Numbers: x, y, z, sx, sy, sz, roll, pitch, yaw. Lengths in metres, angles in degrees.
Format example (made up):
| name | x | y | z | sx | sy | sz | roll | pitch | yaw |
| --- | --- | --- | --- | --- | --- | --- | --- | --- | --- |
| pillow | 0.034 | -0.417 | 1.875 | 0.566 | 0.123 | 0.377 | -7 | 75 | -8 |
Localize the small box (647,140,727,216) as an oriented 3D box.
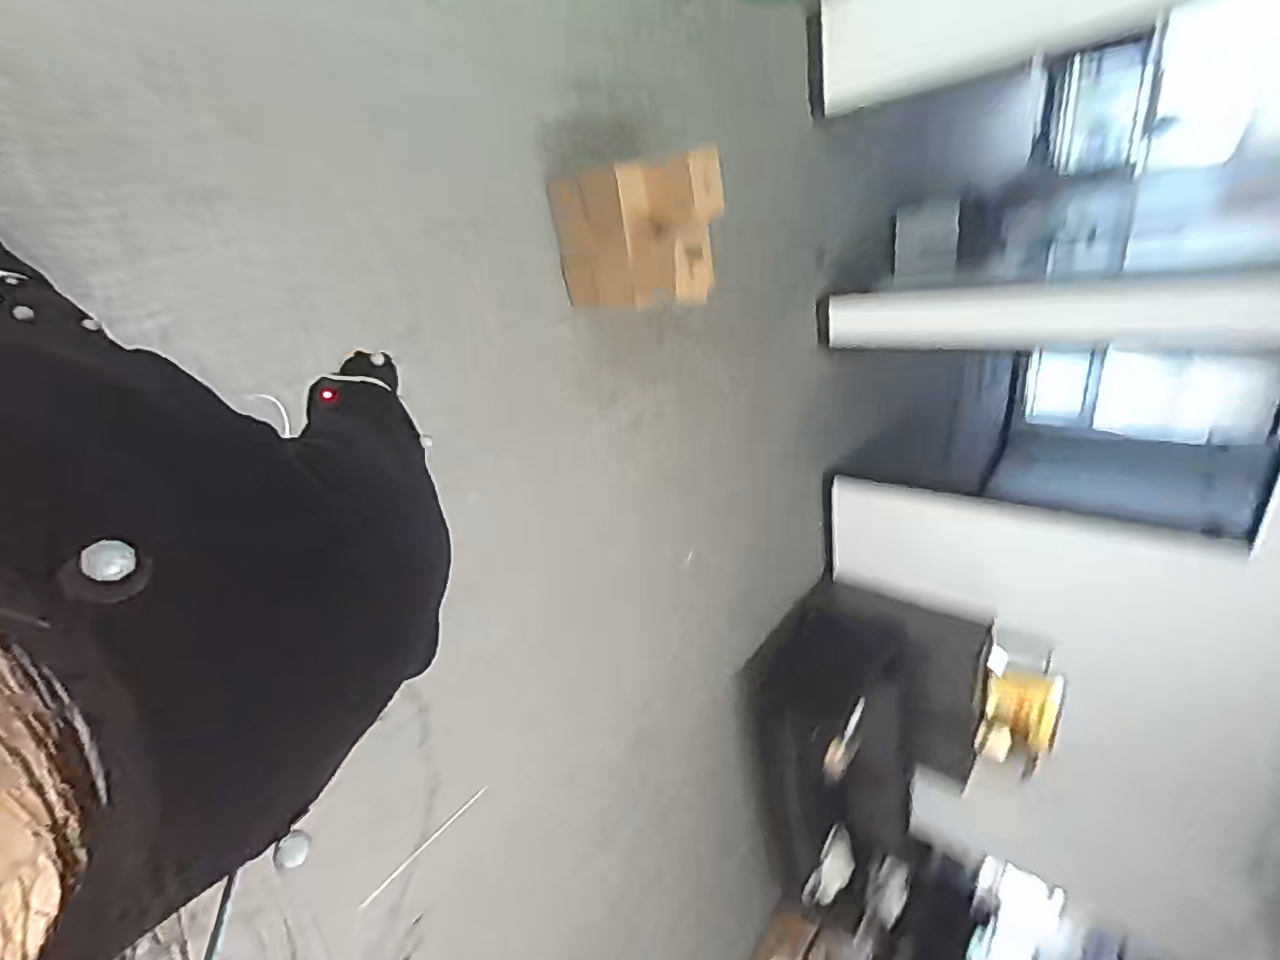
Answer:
| name | x | y | z | sx | sy | sz | roll | pitch | yaw |
| --- | --- | --- | --- | --- | --- | --- | --- | --- | --- |
| small box | 0.145 | -0.916 | 1.647 | 0.168 | 0.176 | 0.179 | -36 | 125 | -39 |
